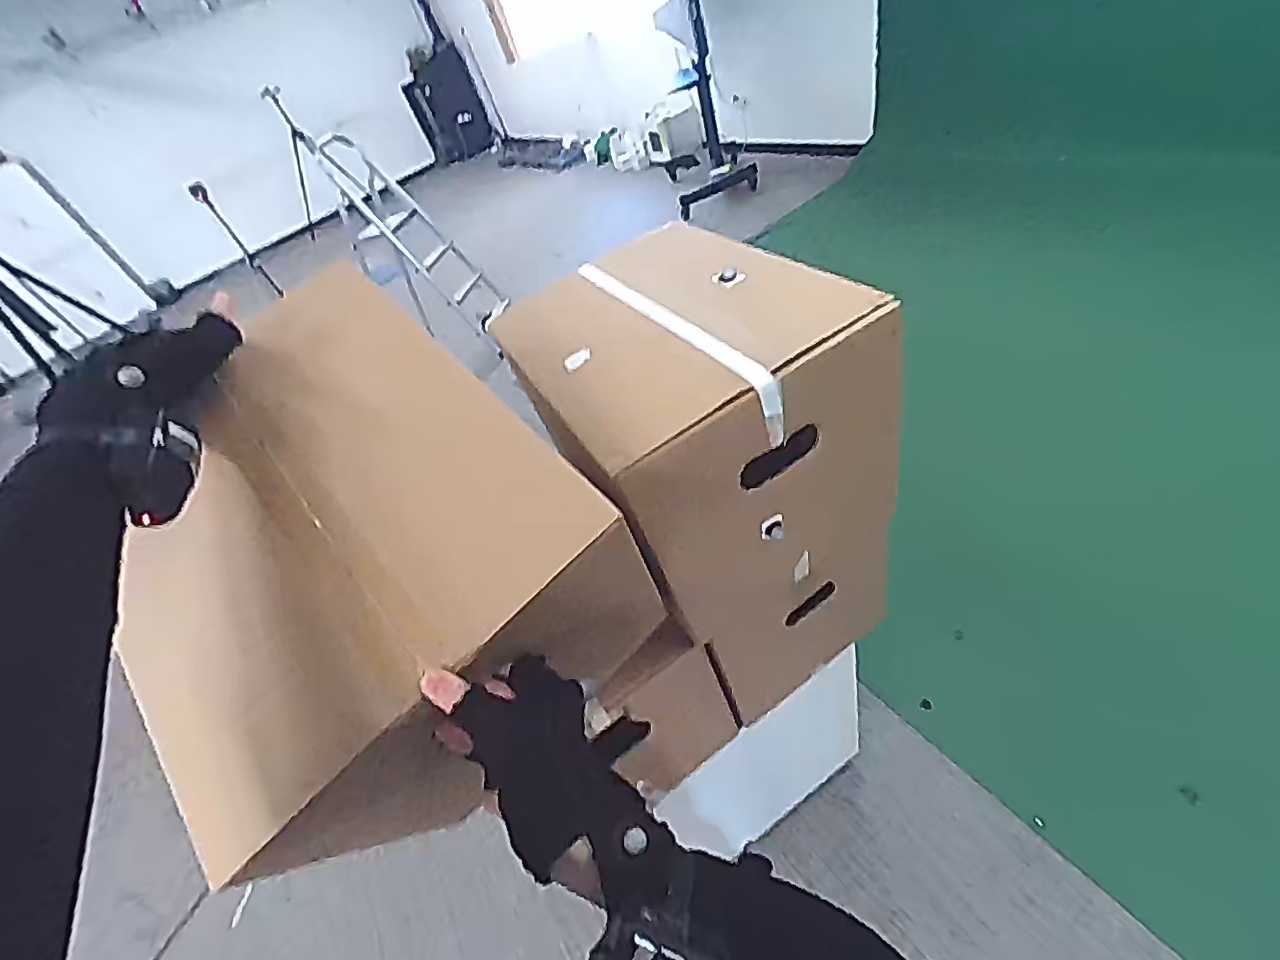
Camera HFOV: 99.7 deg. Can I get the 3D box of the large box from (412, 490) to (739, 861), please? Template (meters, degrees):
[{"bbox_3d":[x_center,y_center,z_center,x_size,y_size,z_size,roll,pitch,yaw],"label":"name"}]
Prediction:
[{"bbox_3d":[-0.105,0.292,0.874,0.320,0.320,0.408,-34,42,-12],"label":"large box"}]
